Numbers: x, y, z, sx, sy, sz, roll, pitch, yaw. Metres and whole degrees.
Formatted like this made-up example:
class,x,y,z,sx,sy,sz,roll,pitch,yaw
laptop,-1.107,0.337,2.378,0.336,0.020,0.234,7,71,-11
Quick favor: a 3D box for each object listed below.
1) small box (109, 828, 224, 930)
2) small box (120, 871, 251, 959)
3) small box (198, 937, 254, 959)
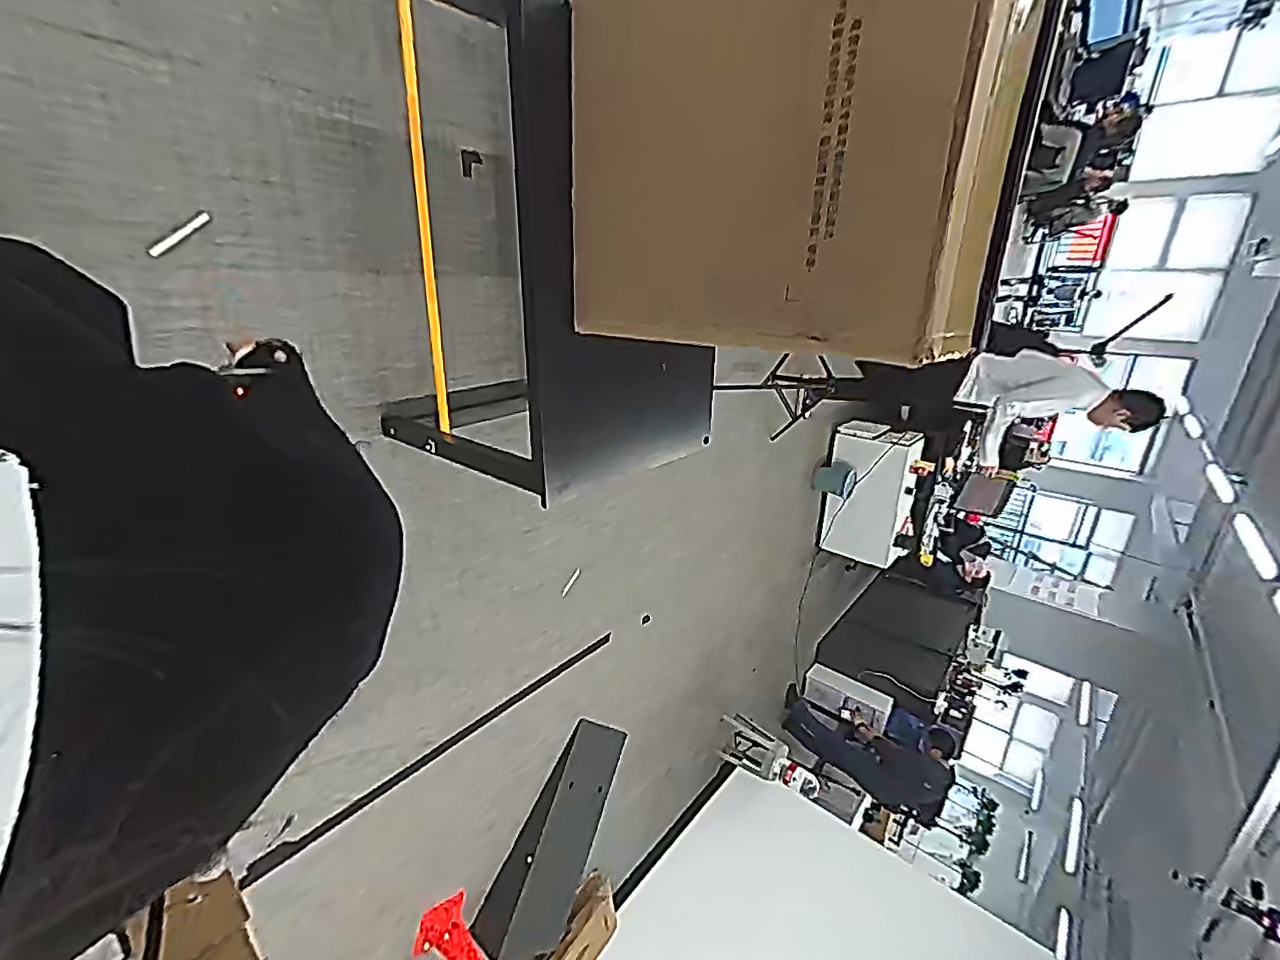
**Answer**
class,x,y,z,sx,sy,sz,roll,pitch,yaw
small box,-1.030,0.923,1.188,0.168,0.176,0.179,-16,116,-48
small box,-0.905,0.949,1.086,0.168,0.176,0.179,-17,115,-49
small box,-0.784,0.998,0.986,0.168,0.176,0.179,-21,120,-47
